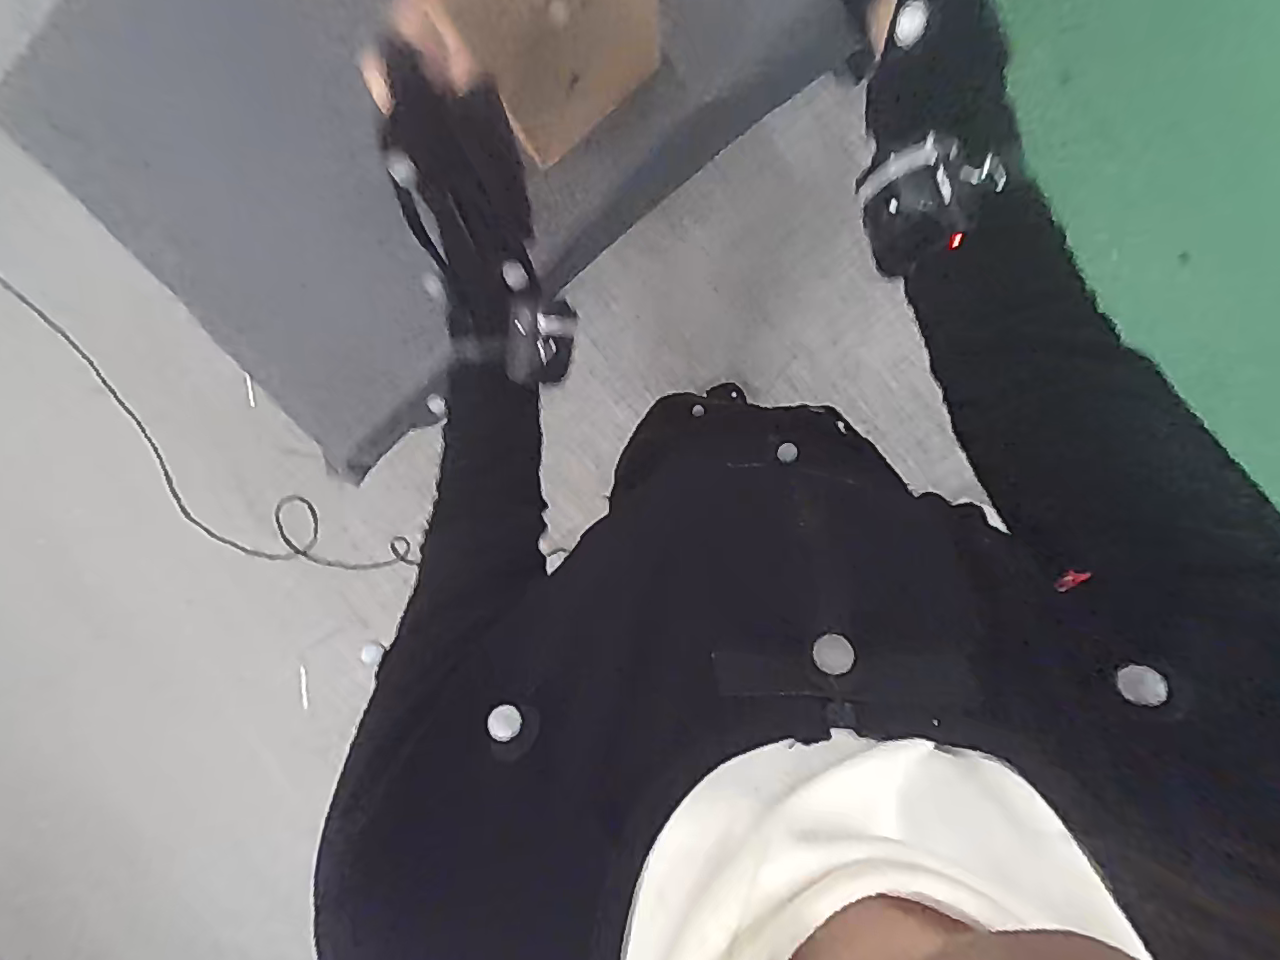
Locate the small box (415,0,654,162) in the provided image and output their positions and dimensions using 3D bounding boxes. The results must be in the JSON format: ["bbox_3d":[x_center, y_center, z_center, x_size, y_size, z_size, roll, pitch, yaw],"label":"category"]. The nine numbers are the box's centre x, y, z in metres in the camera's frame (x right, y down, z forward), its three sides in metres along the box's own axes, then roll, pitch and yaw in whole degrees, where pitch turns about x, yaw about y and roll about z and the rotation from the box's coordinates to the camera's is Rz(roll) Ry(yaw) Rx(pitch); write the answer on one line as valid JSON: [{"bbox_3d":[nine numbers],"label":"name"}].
[{"bbox_3d":[-0.101,-0.463,0.536,0.179,0.176,0.168,-37,95,11],"label":"small box"}]

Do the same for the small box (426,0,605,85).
[{"bbox_3d":[-0.118,-0.438,0.374,0.168,0.176,0.179,-37,93,10],"label":"small box"}]
